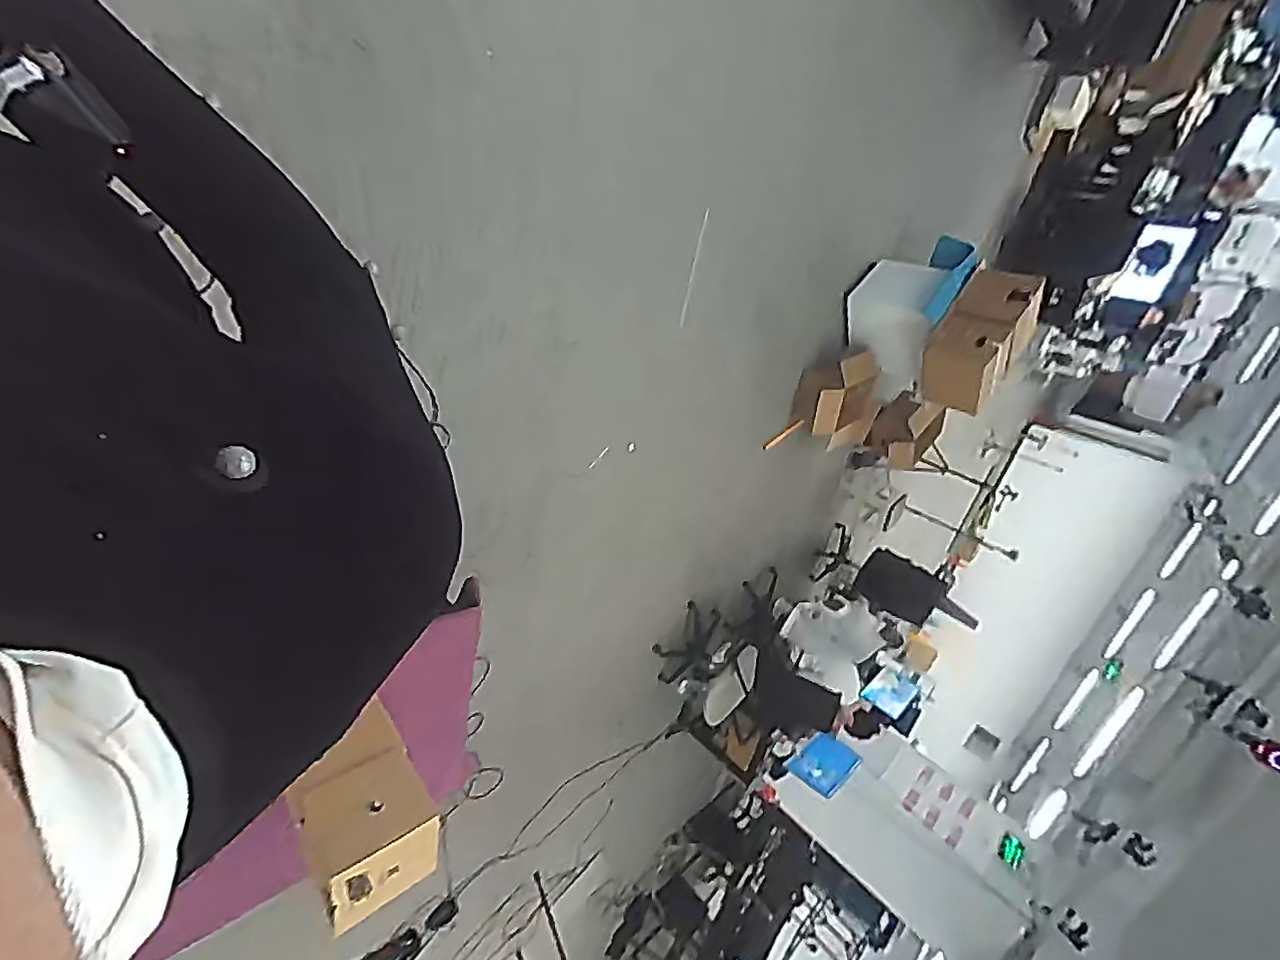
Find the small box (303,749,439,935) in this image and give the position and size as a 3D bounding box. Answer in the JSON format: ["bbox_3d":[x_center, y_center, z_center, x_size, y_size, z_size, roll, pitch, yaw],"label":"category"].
[{"bbox_3d":[-0.481,0.630,0.963,0.179,0.176,0.168,-14,125,-45],"label":"small box"}]
